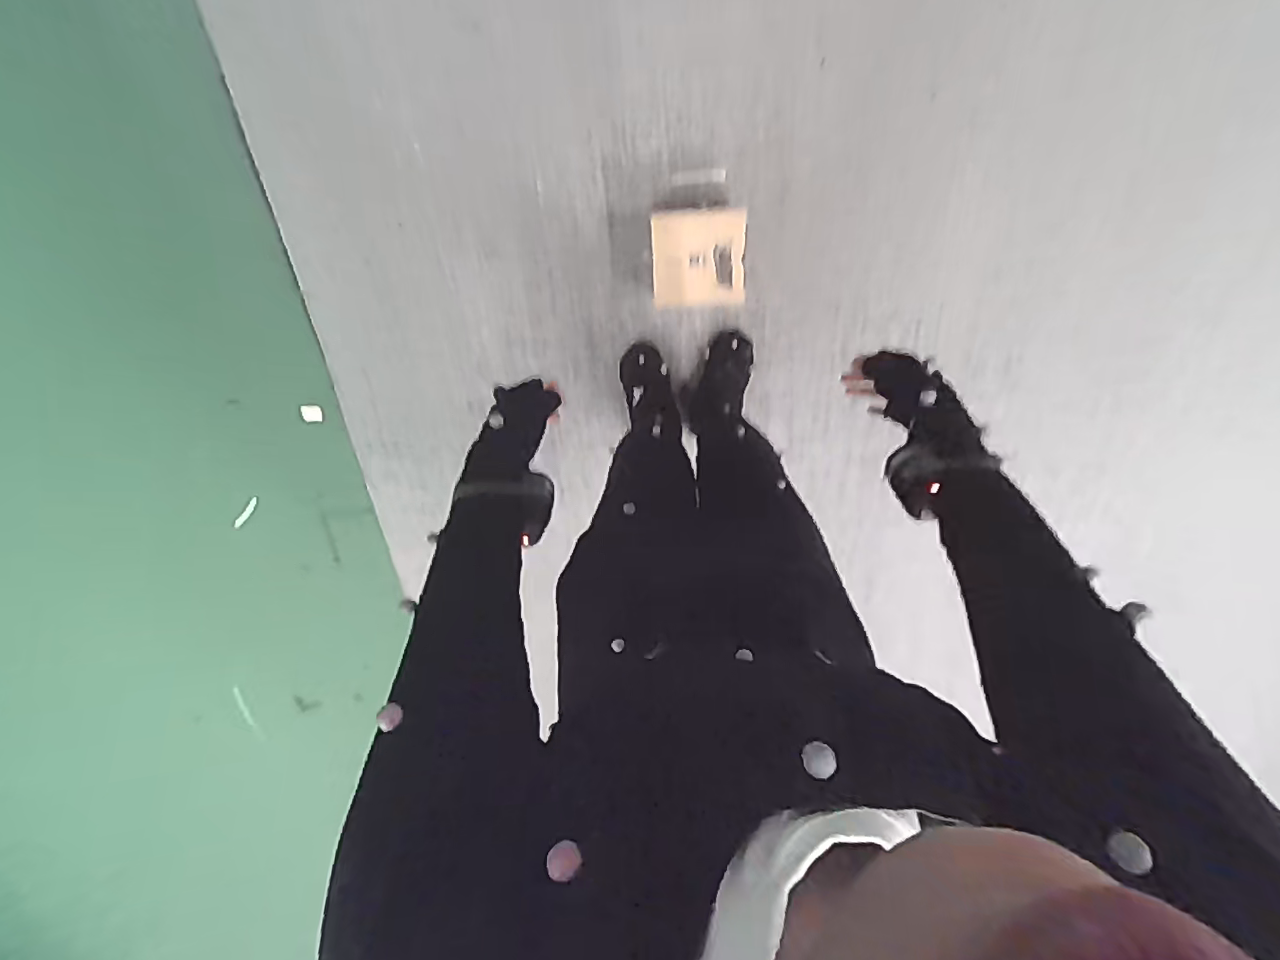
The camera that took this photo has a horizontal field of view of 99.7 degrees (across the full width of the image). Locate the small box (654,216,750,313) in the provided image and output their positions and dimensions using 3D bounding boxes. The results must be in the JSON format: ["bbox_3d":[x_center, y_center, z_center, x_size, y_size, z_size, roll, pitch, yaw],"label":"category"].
[{"bbox_3d":[0.119,-0.439,1.094,0.179,0.176,0.168,-2,116,2],"label":"small box"}]
